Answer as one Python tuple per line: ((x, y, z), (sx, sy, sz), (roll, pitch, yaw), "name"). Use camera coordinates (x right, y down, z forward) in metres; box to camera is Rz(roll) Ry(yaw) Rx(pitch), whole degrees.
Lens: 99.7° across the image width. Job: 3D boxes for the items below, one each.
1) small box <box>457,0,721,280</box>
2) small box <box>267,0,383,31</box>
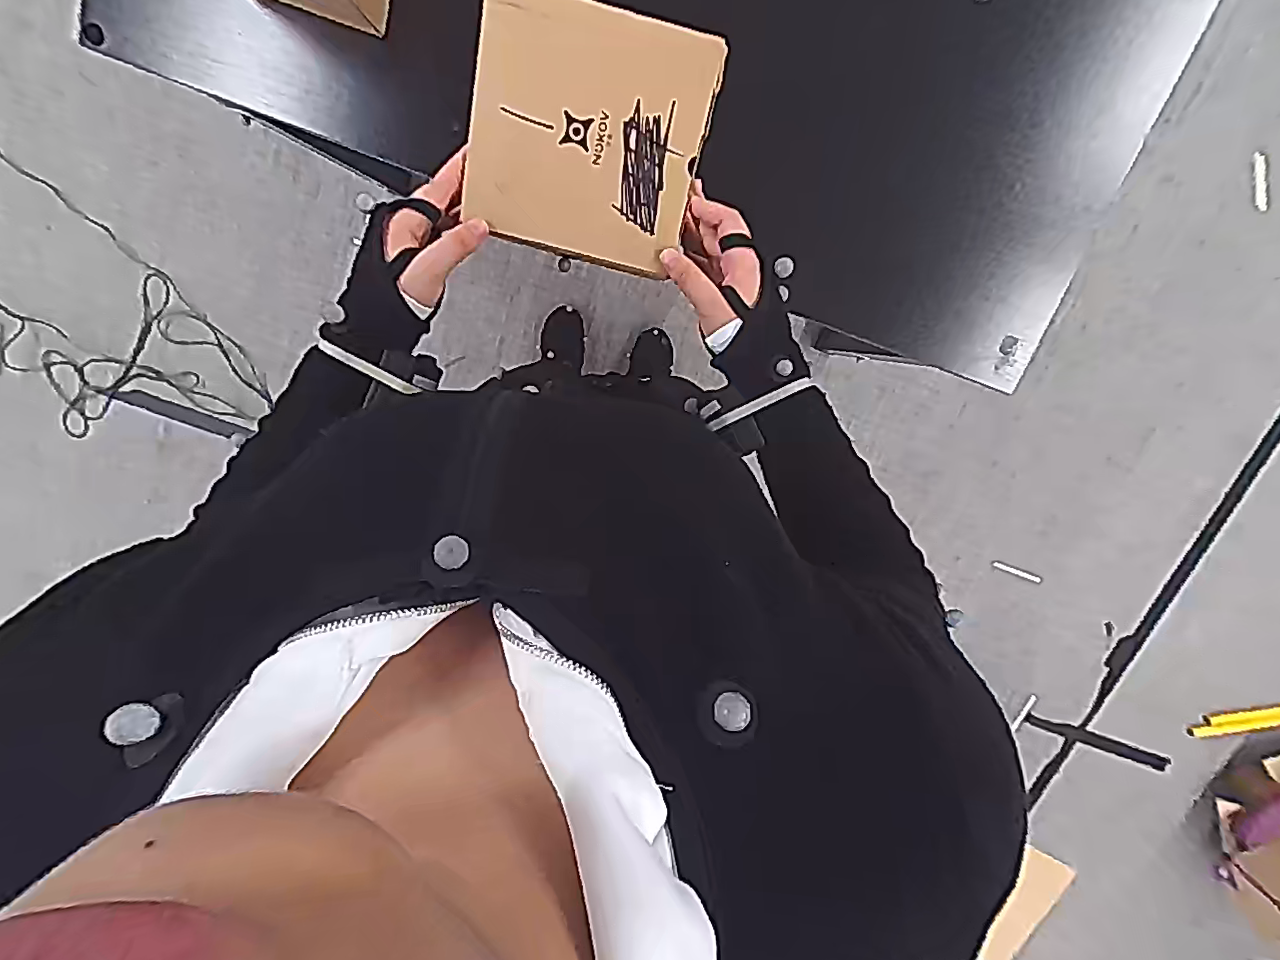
((-0.044, -0.287, 0.487), (0.179, 0.176, 0.168), (13, 108, -5), "small box")
((-0.354, -0.583, 0.519), (0.179, 0.176, 0.168), (17, 104, -3), "small box")
